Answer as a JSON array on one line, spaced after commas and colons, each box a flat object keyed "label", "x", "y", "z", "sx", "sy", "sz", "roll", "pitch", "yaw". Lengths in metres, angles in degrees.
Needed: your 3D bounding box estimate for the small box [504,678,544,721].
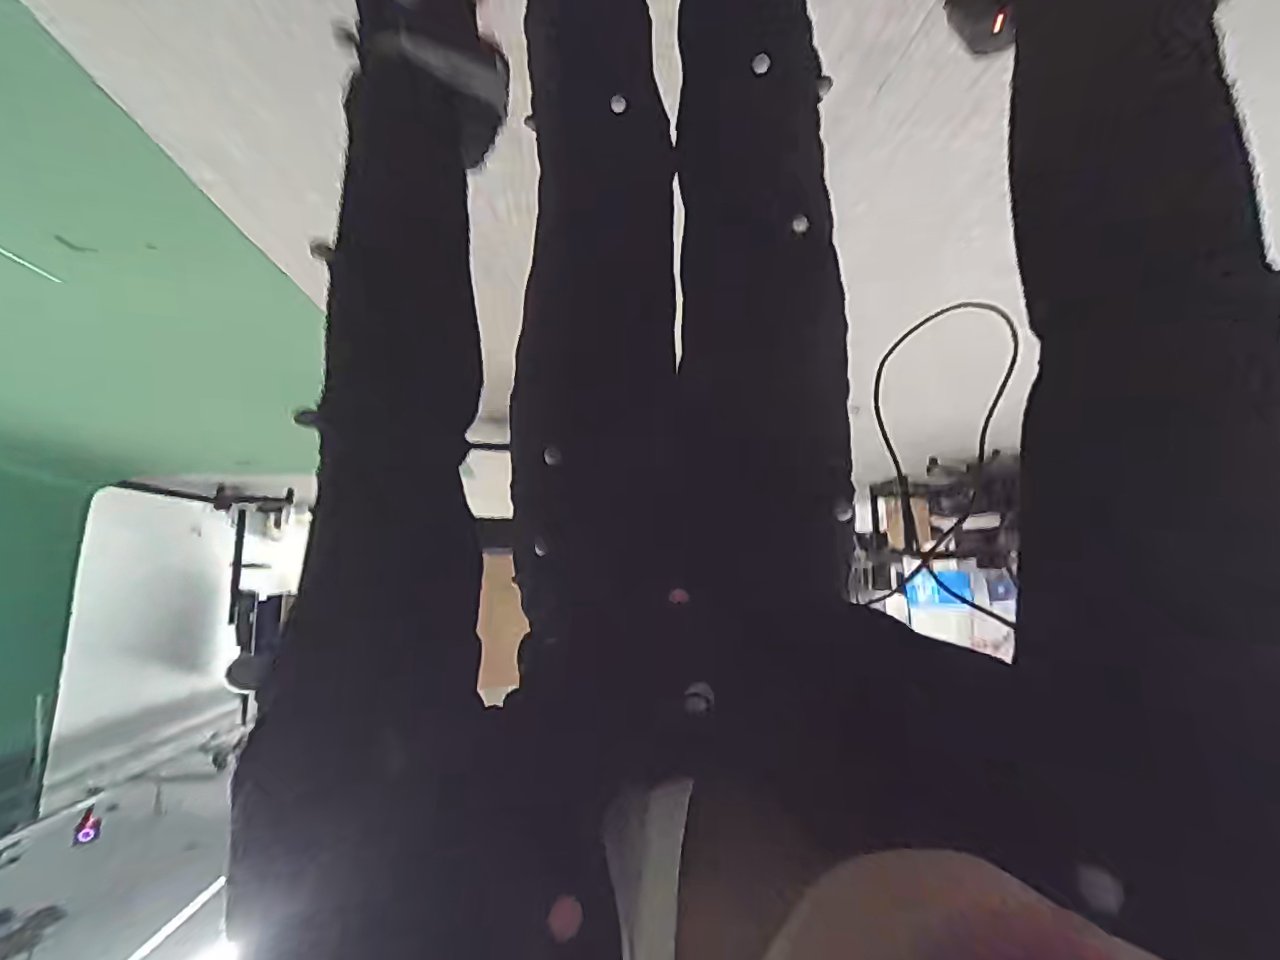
[{"label": "small box", "x": -0.564, "y": 1.059, "z": 2.625, "sx": 0.179, "sy": 0.176, "sz": 0.168, "roll": 2, "pitch": 168, "yaw": -15}]
